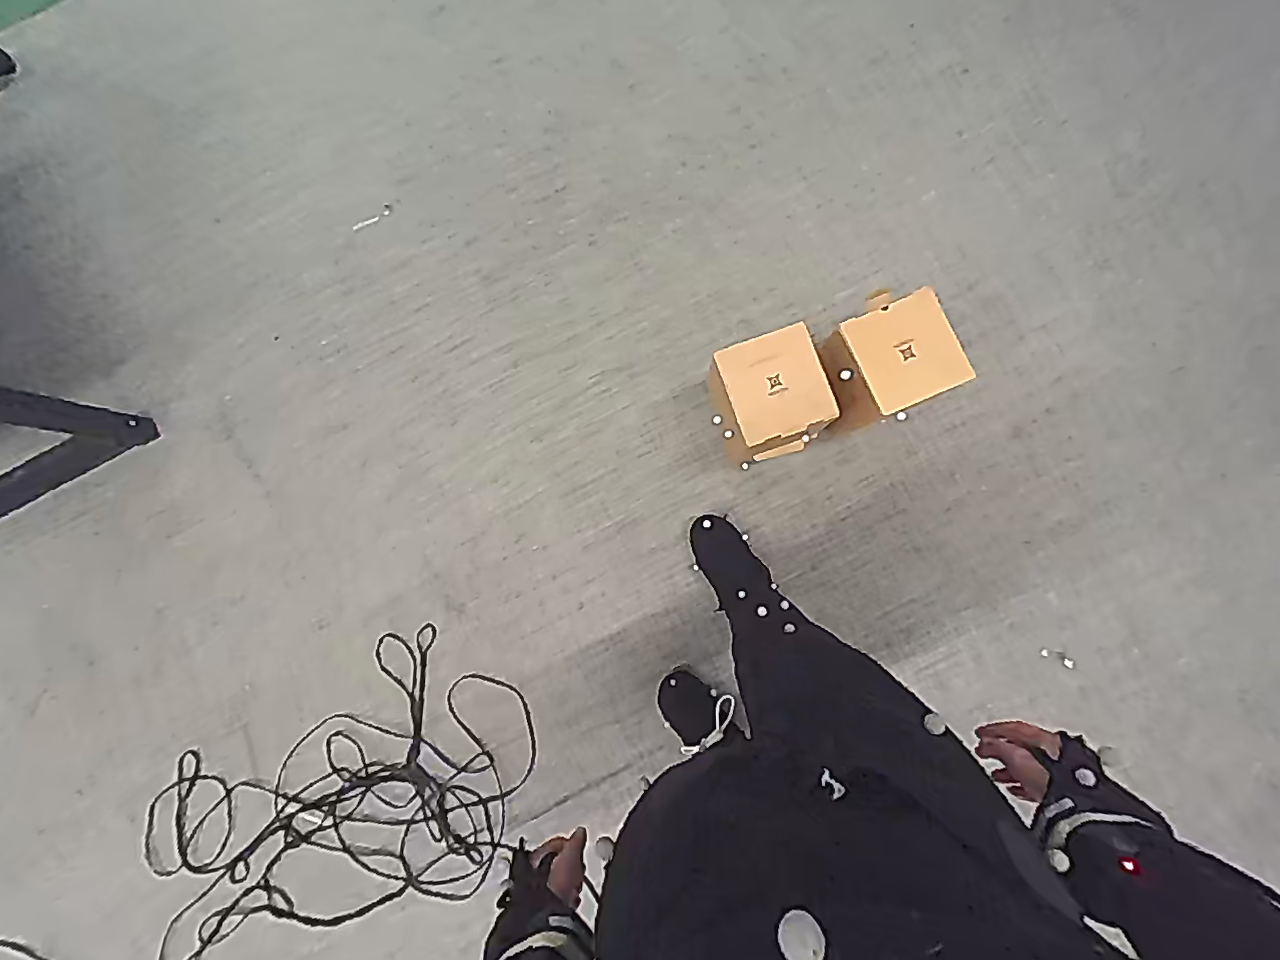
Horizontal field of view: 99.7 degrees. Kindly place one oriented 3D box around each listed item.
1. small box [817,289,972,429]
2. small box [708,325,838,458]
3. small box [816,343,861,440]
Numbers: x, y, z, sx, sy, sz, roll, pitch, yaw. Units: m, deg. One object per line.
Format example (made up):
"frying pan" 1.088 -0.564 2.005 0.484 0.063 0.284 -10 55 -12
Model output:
"small box" 0.445 -0.203 0.974 0.168 0.176 0.179 -23 83 1
"small box" 0.231 -0.148 0.984 0.168 0.176 0.179 -20 82 0
"small box" 0.461 -0.204 1.138 0.168 0.176 0.179 -23 82 1
